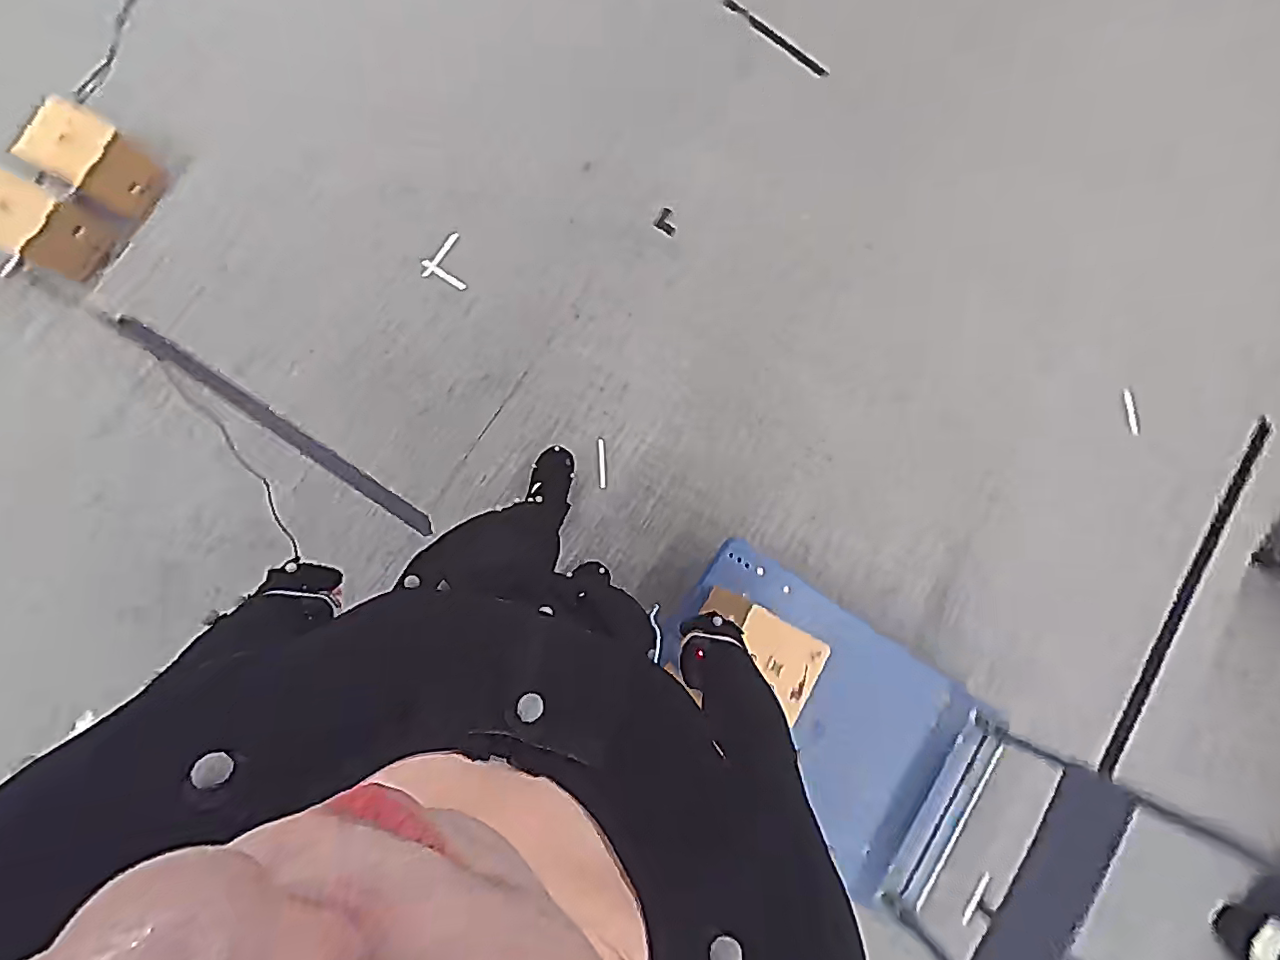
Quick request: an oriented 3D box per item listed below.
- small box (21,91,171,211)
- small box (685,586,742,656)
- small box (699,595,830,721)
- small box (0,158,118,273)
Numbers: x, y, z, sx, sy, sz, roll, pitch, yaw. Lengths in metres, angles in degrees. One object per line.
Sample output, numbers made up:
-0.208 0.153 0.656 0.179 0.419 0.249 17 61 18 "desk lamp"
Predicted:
-1.388 -0.836 1.393 0.179 0.176 0.168 26 83 -3 "small box"
0.223 0.360 1.249 0.179 0.176 0.168 33 84 -3 "small box"
0.238 0.344 1.086 0.179 0.176 0.168 31 83 -1 "small box"
-1.503 -0.654 1.365 0.179 0.176 0.168 30 82 -2 "small box"
